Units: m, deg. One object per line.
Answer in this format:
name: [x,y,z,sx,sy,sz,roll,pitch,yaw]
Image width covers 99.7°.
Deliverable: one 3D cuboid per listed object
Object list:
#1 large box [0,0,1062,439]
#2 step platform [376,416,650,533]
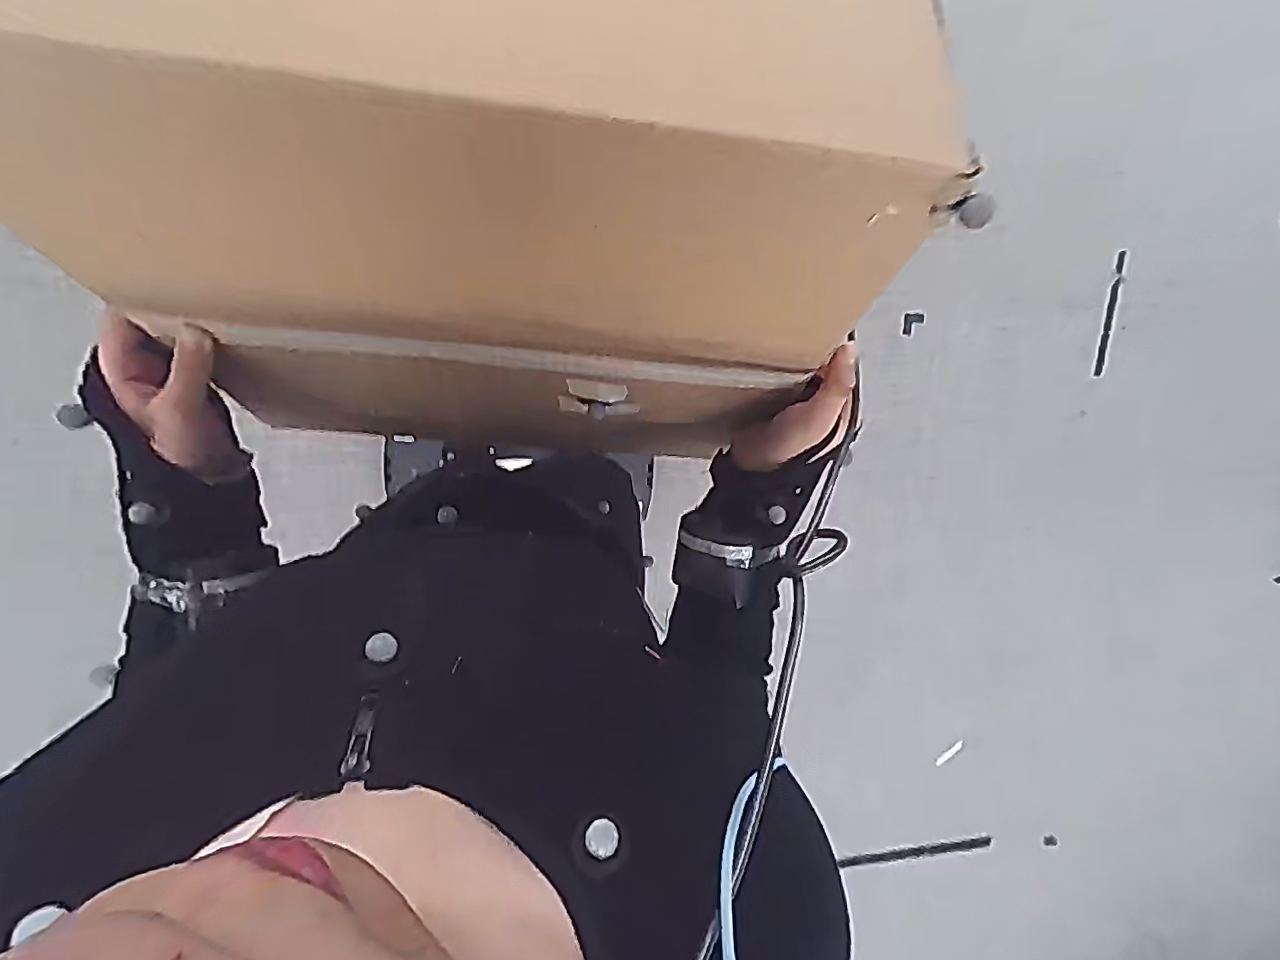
large box: [-0.068,-0.235,0.353,0.408,0.320,0.320,3,72,-7]
step platform: [-0.316,-0.038,1.421,0.684,0.204,0.286,6,99,-10]
